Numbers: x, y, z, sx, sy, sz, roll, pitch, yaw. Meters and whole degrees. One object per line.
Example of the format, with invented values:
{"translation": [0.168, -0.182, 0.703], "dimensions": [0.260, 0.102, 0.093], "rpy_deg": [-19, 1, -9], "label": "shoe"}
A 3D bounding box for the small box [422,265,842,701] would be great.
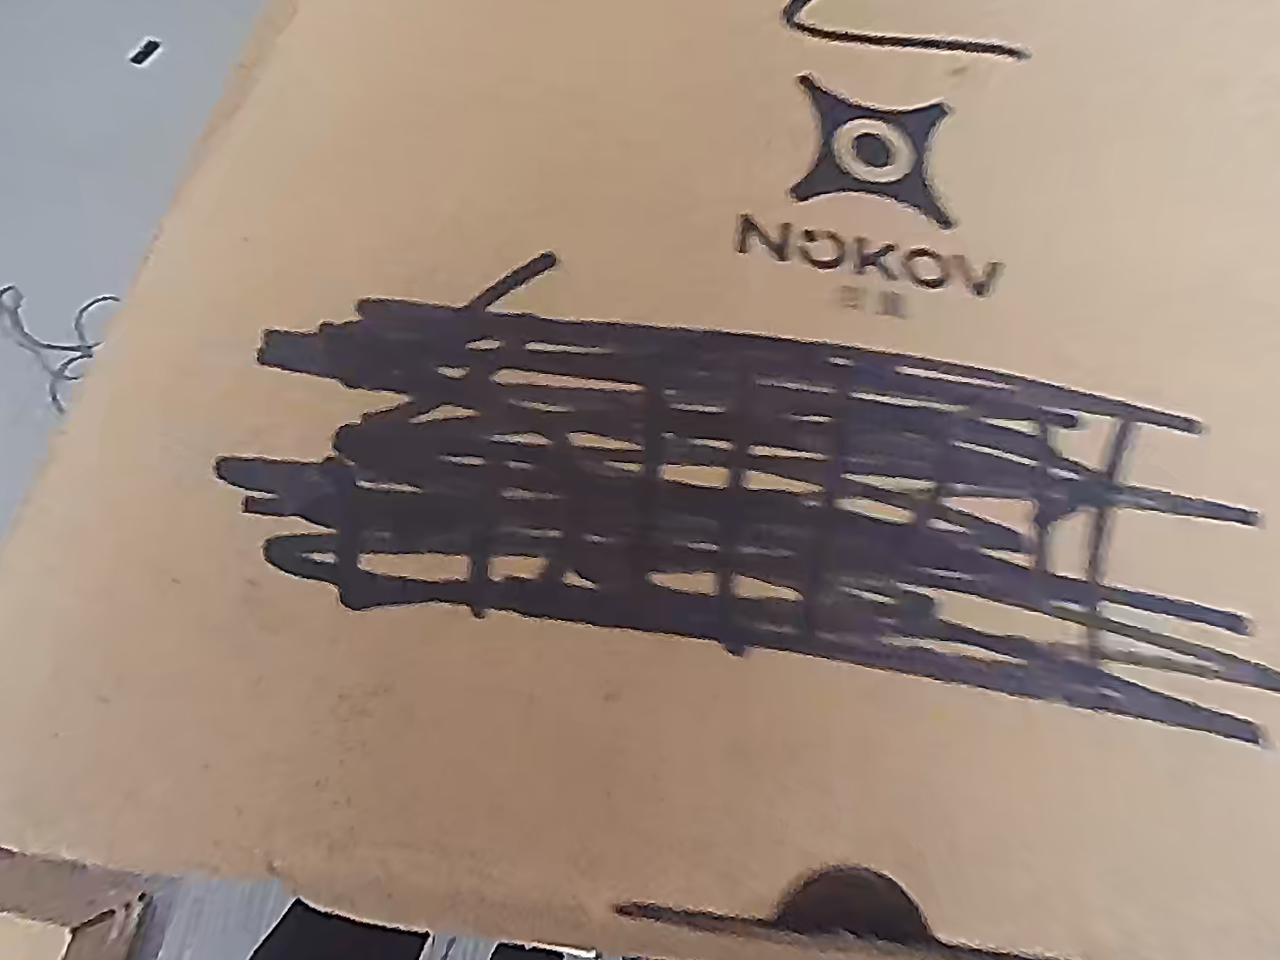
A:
{"translation": [-0.002, 0.013, 0.307], "dimensions": [0.168, 0.176, 0.179], "rpy_deg": [7, 76, -4], "label": "small box"}
